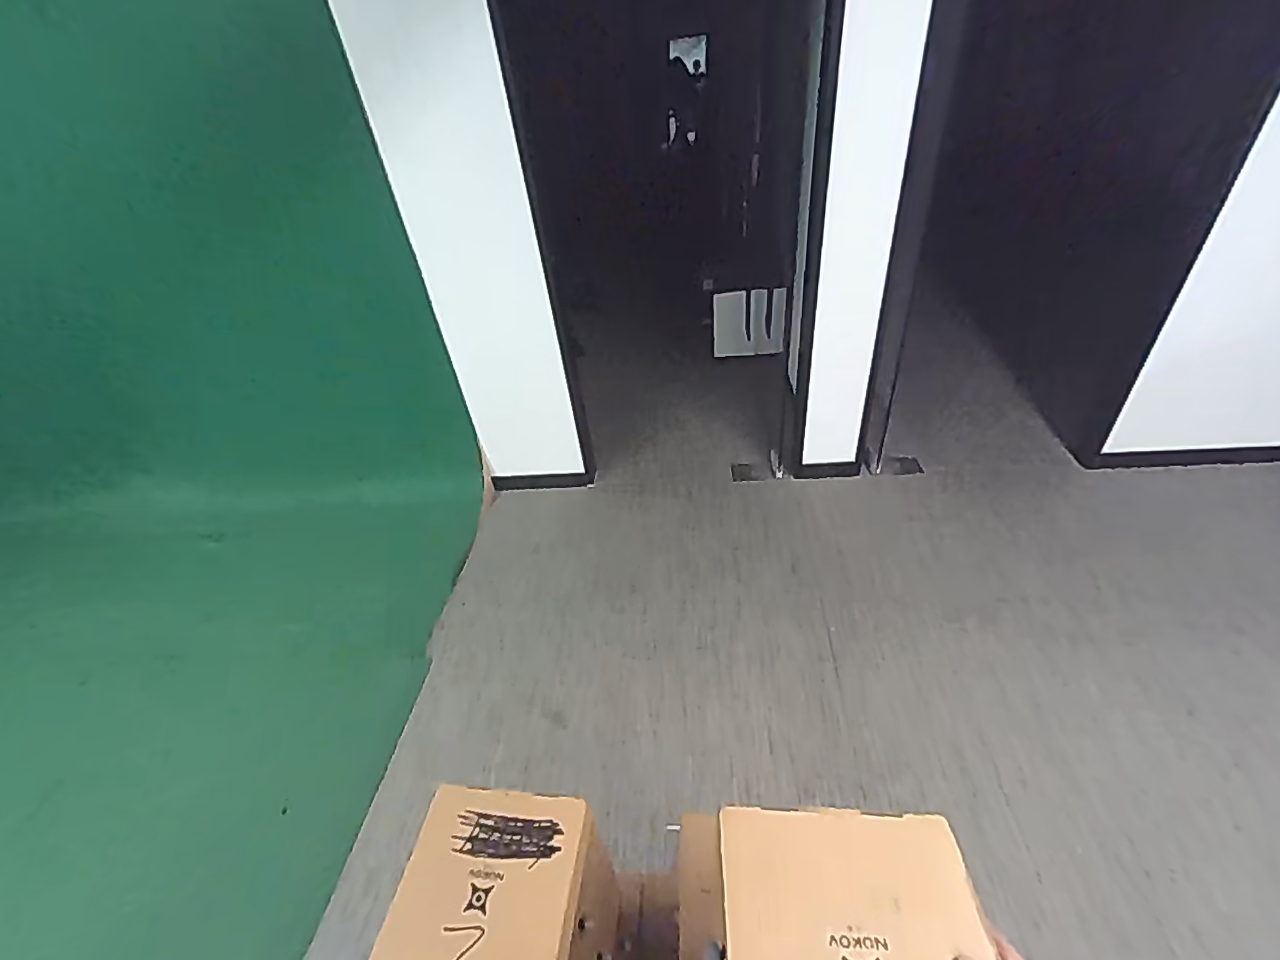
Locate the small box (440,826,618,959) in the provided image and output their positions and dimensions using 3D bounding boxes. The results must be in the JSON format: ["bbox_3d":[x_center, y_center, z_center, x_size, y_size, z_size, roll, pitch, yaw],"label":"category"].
[{"bbox_3d":[-0.125,0.562,0.665,0.168,0.176,0.179,1,38,9],"label":"small box"}]

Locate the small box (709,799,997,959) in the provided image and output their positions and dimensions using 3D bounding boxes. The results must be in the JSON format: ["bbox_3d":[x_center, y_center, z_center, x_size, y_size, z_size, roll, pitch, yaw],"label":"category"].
[{"bbox_3d":[0.136,0.356,0.374,0.168,0.176,0.179,1,36,5],"label":"small box"}]

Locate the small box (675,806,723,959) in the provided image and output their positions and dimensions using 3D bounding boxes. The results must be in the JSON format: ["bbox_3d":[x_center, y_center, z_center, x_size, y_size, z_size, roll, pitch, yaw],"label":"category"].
[{"bbox_3d":[0.139,0.528,0.667,0.179,0.176,0.168,-3,37,9],"label":"small box"}]

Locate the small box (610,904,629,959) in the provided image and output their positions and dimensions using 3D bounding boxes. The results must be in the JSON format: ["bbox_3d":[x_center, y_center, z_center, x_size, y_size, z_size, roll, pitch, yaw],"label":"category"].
[{"bbox_3d":[-0.110,0.700,0.755,0.168,0.176,0.179,0,38,8],"label":"small box"}]
